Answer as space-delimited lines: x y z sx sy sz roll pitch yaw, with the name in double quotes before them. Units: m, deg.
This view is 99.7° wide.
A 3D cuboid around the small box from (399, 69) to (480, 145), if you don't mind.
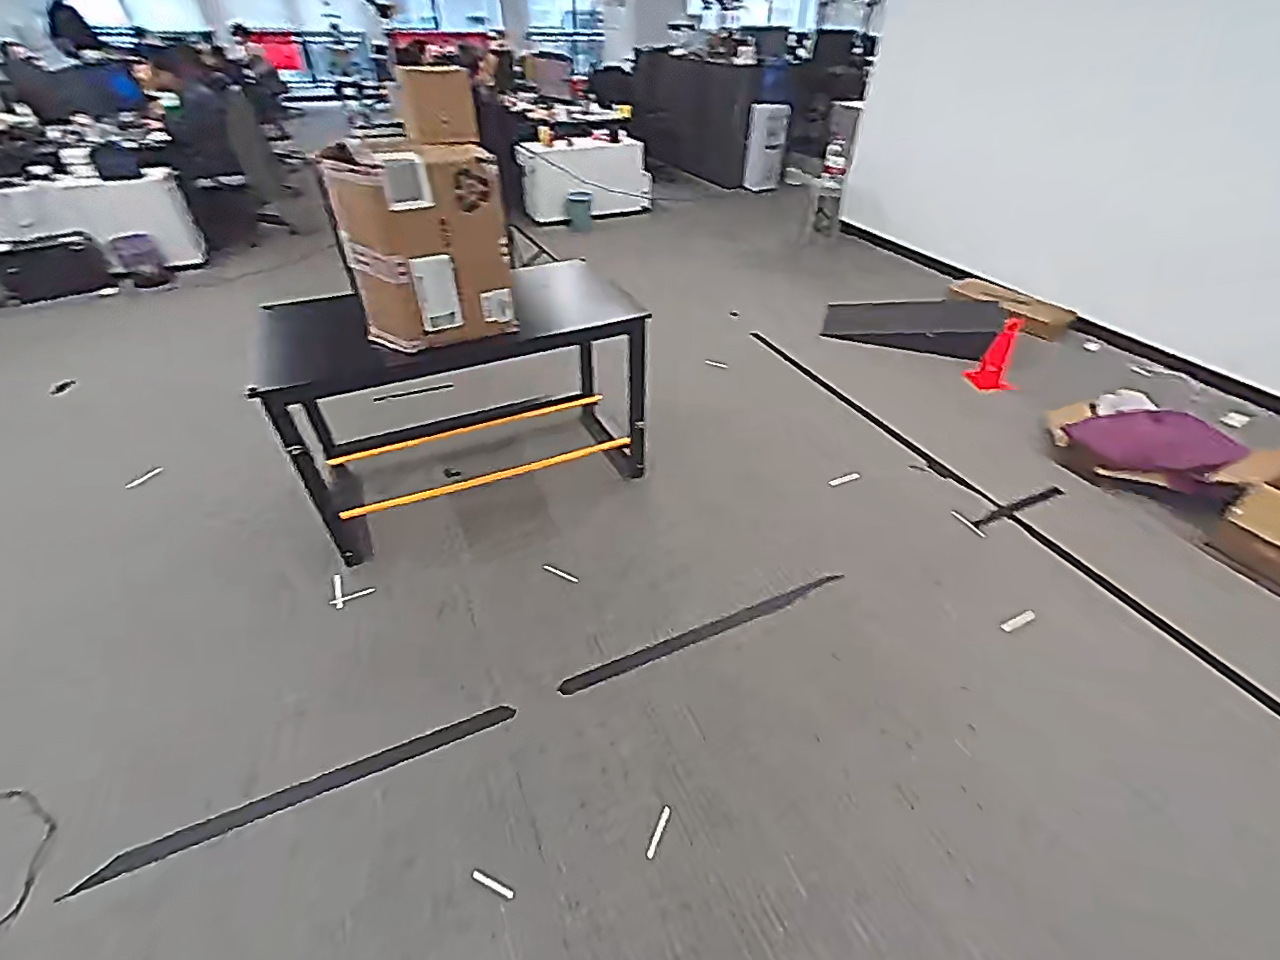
"small box" -0.568 -1.058 1.534 0.168 0.176 0.179 -19 43 -23
